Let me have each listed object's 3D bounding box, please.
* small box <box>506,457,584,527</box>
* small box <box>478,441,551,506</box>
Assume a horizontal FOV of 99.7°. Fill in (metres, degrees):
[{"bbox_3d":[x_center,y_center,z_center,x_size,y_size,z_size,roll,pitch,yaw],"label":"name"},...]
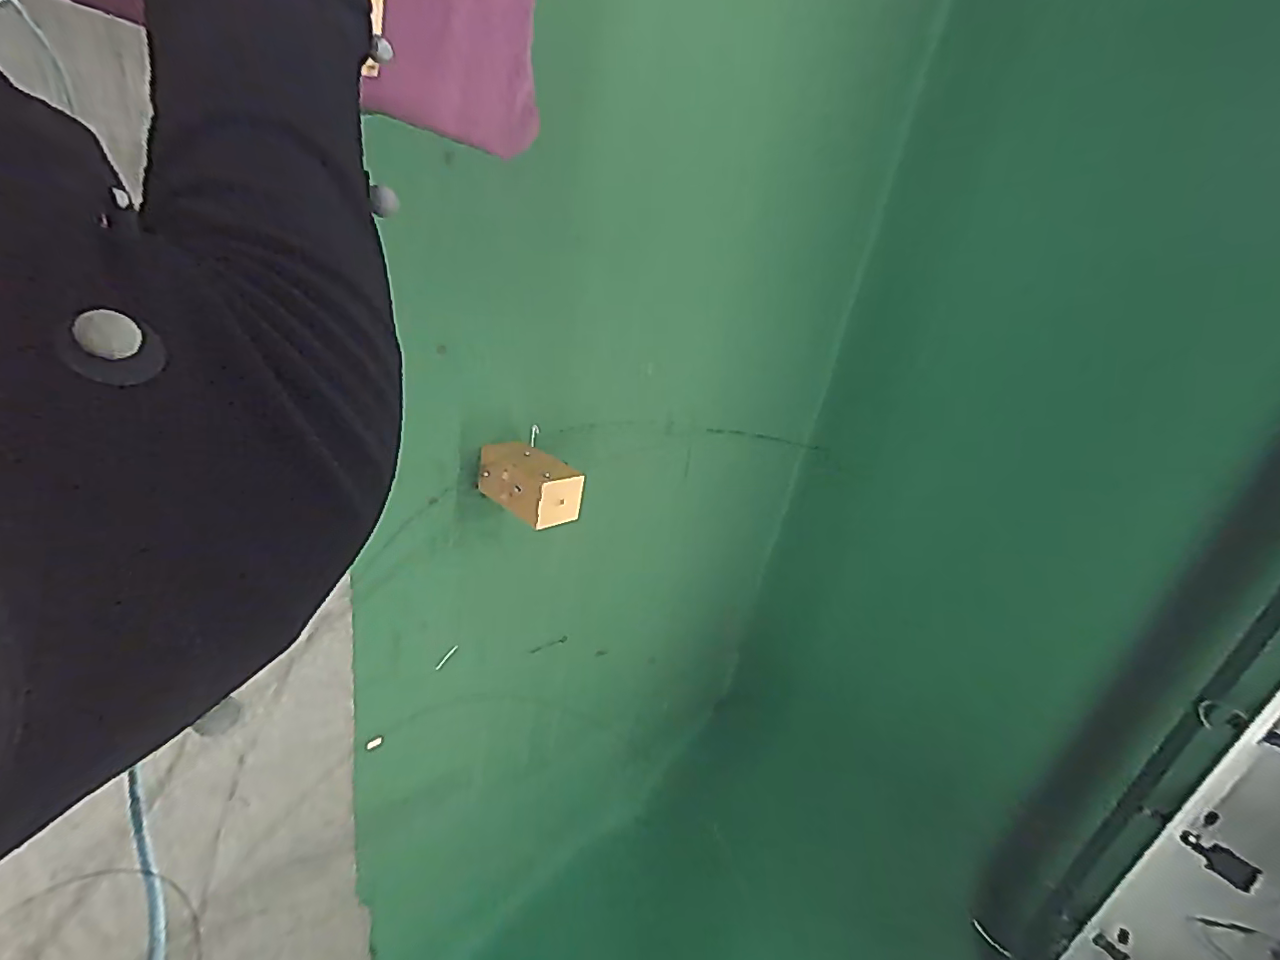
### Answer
[{"bbox_3d":[-0.316,0.032,1.783,0.179,0.176,0.168,-13,123,-47],"label":"small box"},{"bbox_3d":[-0.435,-0.029,1.877,0.179,0.176,0.168,-11,121,-48],"label":"small box"}]
